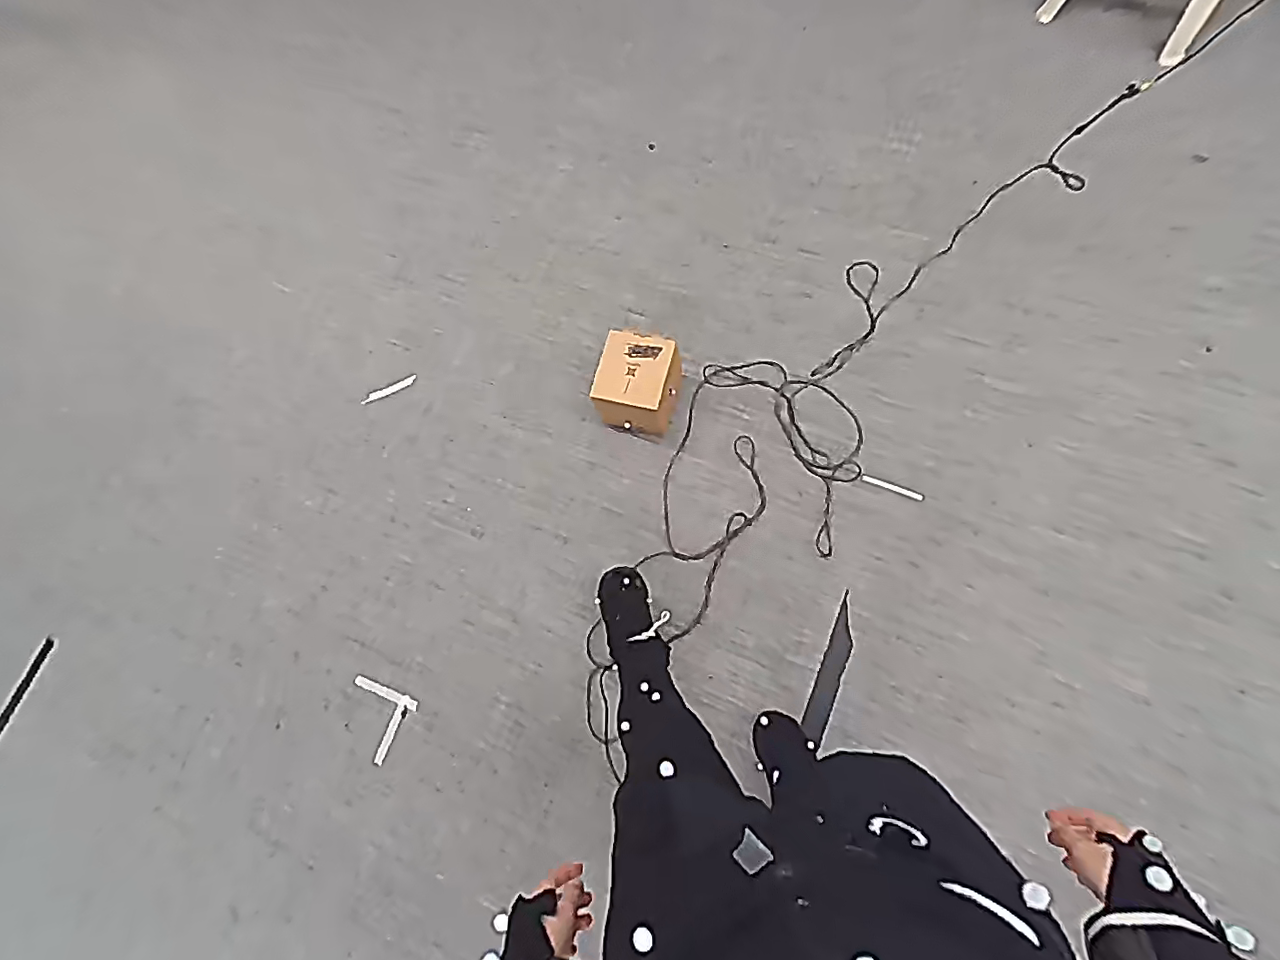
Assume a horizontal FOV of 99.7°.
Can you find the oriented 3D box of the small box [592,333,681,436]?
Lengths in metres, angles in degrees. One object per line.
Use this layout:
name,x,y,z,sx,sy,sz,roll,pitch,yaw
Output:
small box,-0.001,-0.227,1.313,0.168,0.176,0.179,13,78,12
